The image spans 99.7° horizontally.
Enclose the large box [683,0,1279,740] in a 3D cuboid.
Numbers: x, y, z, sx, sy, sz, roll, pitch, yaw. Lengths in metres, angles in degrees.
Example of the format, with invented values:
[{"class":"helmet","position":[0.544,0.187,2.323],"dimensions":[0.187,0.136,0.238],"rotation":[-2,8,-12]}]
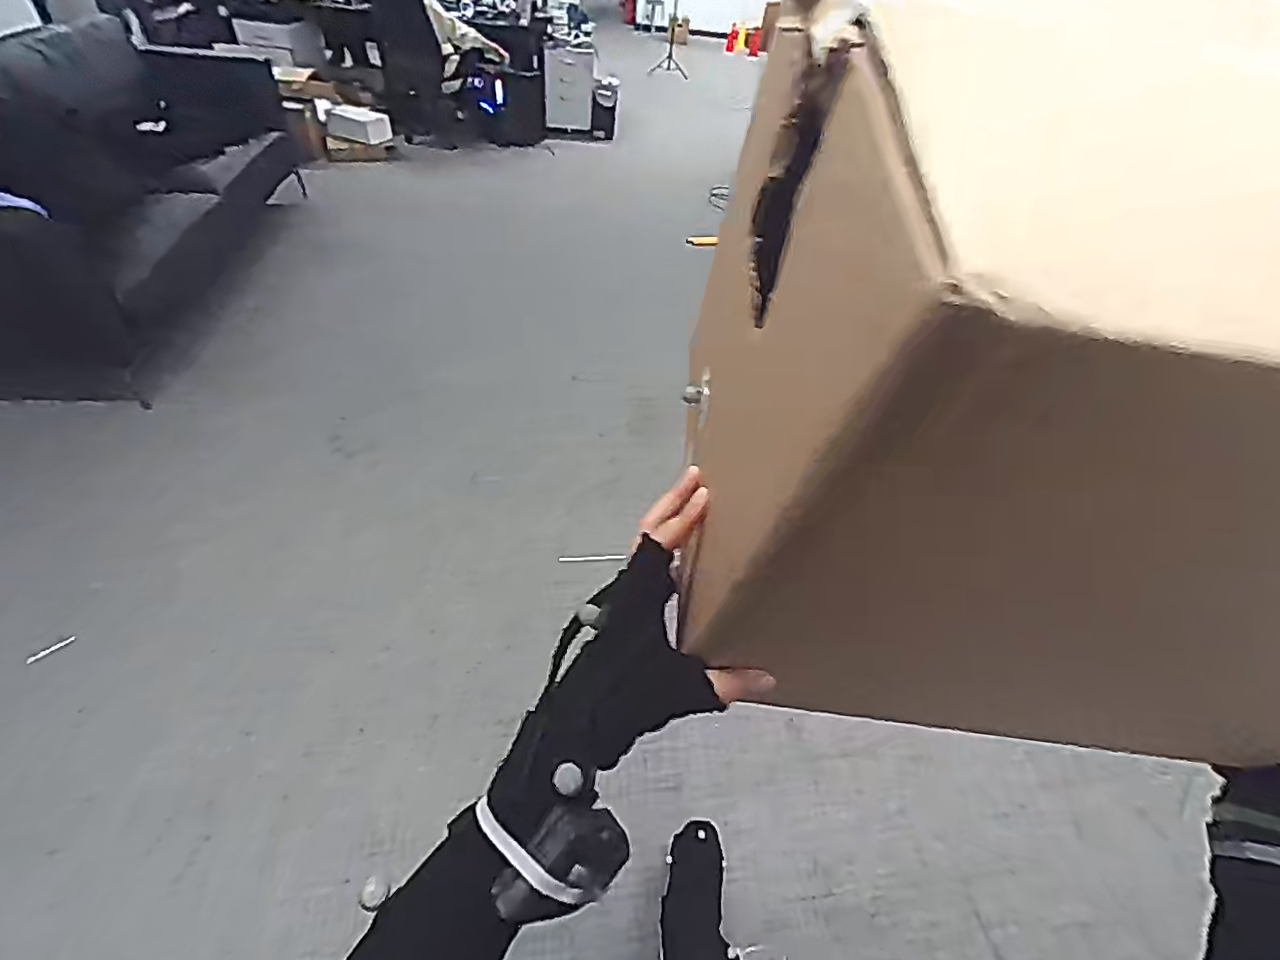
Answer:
[{"class":"large box","position":[0.251,-0.048,0.330],"dimensions":[0.408,0.320,0.320],"rotation":[8,56,-4]}]
